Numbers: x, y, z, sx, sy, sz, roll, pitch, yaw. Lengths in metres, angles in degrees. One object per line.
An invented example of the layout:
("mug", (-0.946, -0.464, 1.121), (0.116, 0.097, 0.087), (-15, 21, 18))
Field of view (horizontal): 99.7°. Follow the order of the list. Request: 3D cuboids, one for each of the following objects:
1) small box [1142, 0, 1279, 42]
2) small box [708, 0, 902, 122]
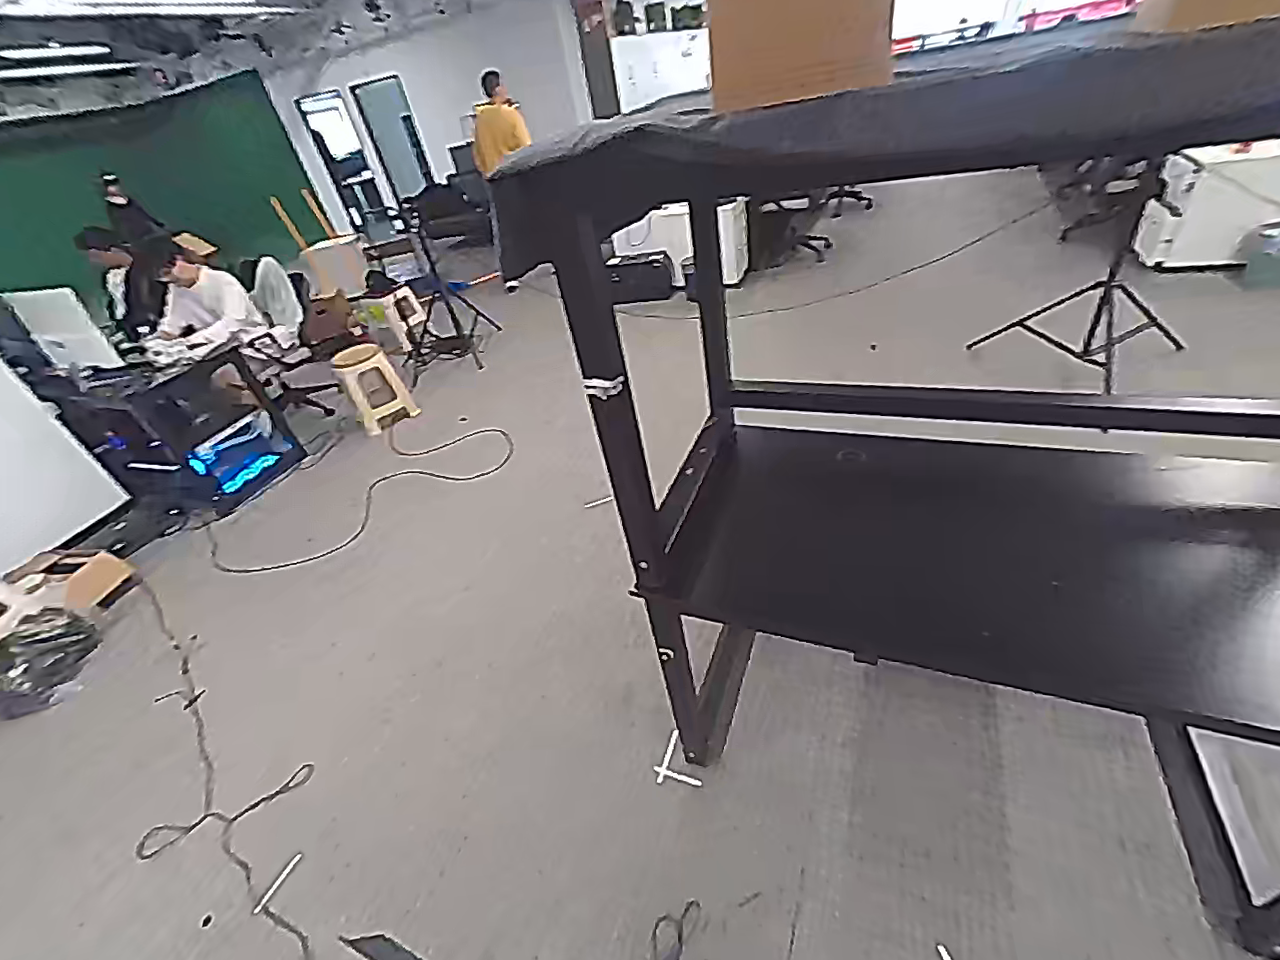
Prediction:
("small box", (0.529, -0.456, 0.411), (0.168, 0.176, 0.179), (9, 40, 27))
("small box", (0.173, -0.485, 0.551), (0.179, 0.176, 0.168), (4, 37, 21))
